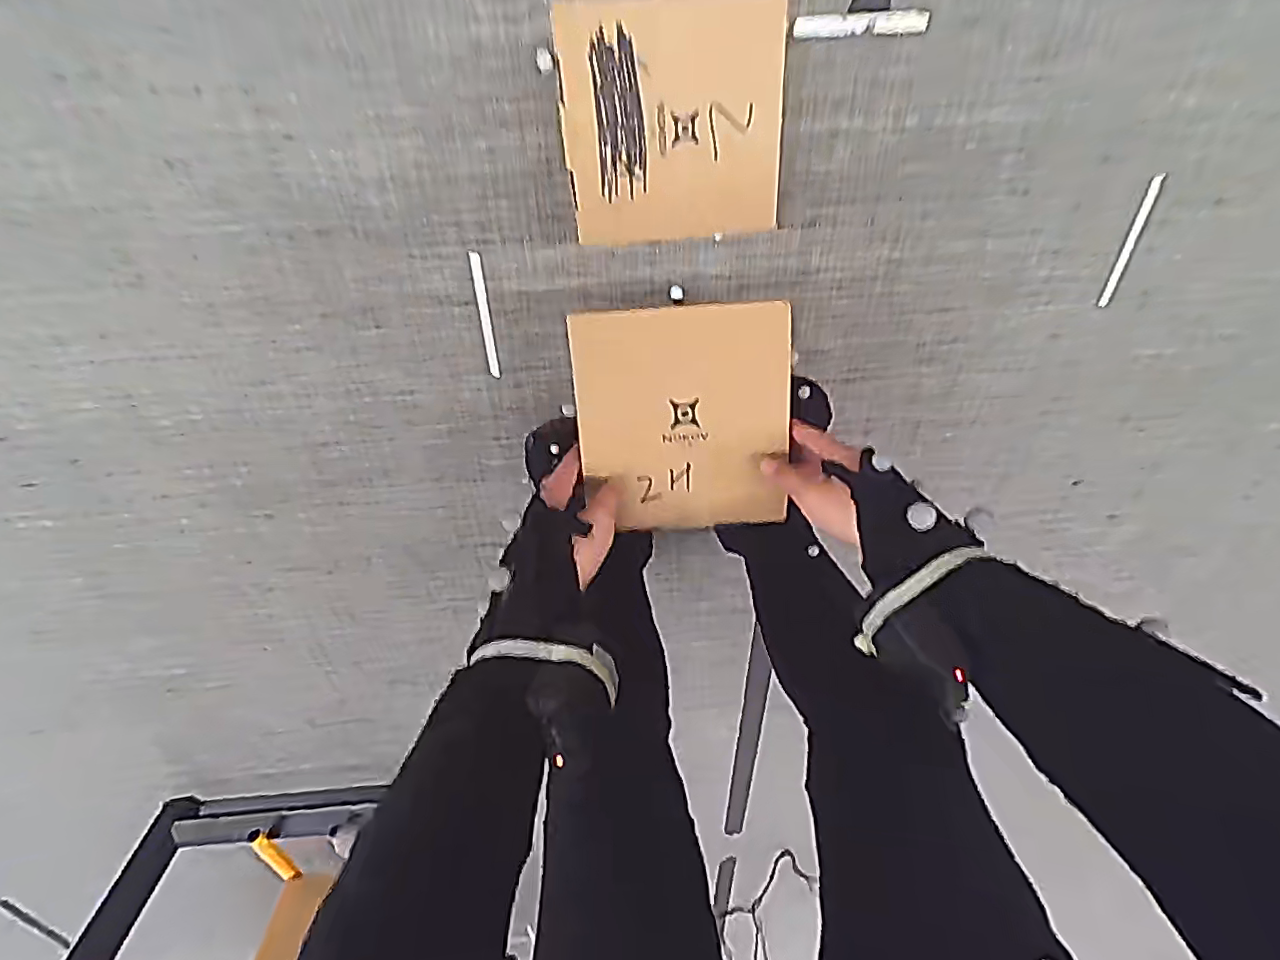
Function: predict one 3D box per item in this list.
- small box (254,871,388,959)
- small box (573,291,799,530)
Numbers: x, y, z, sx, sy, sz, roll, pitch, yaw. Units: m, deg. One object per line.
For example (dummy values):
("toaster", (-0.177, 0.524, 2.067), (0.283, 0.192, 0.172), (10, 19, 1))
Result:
("small box", (-0.658, 0.952, 1.128), (0.179, 0.176, 0.168), (-5, 124, -4))
("small box", (0.033, -0.070, 0.483), (0.168, 0.176, 0.179), (-3, 108, 0))
